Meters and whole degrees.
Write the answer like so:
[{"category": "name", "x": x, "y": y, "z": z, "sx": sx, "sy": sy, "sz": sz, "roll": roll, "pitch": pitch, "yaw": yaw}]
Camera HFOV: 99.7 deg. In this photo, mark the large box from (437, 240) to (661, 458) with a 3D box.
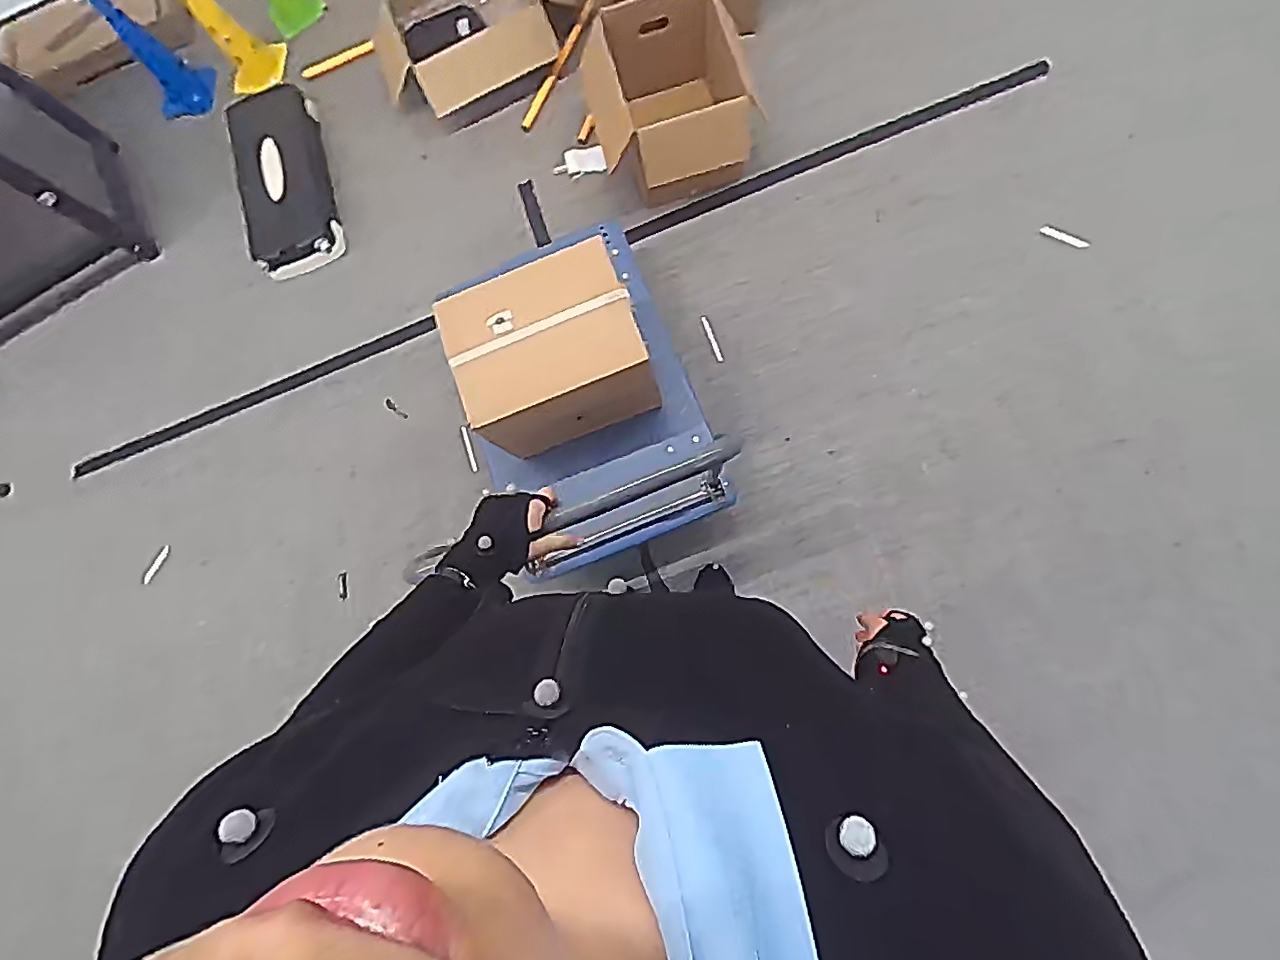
[{"category": "large box", "x": -0.199, "y": -0.290, "z": 1.306, "sx": 0.408, "sy": 0.320, "sz": 0.320, "roll": -22, "pitch": 77, "yaw": 4}]
